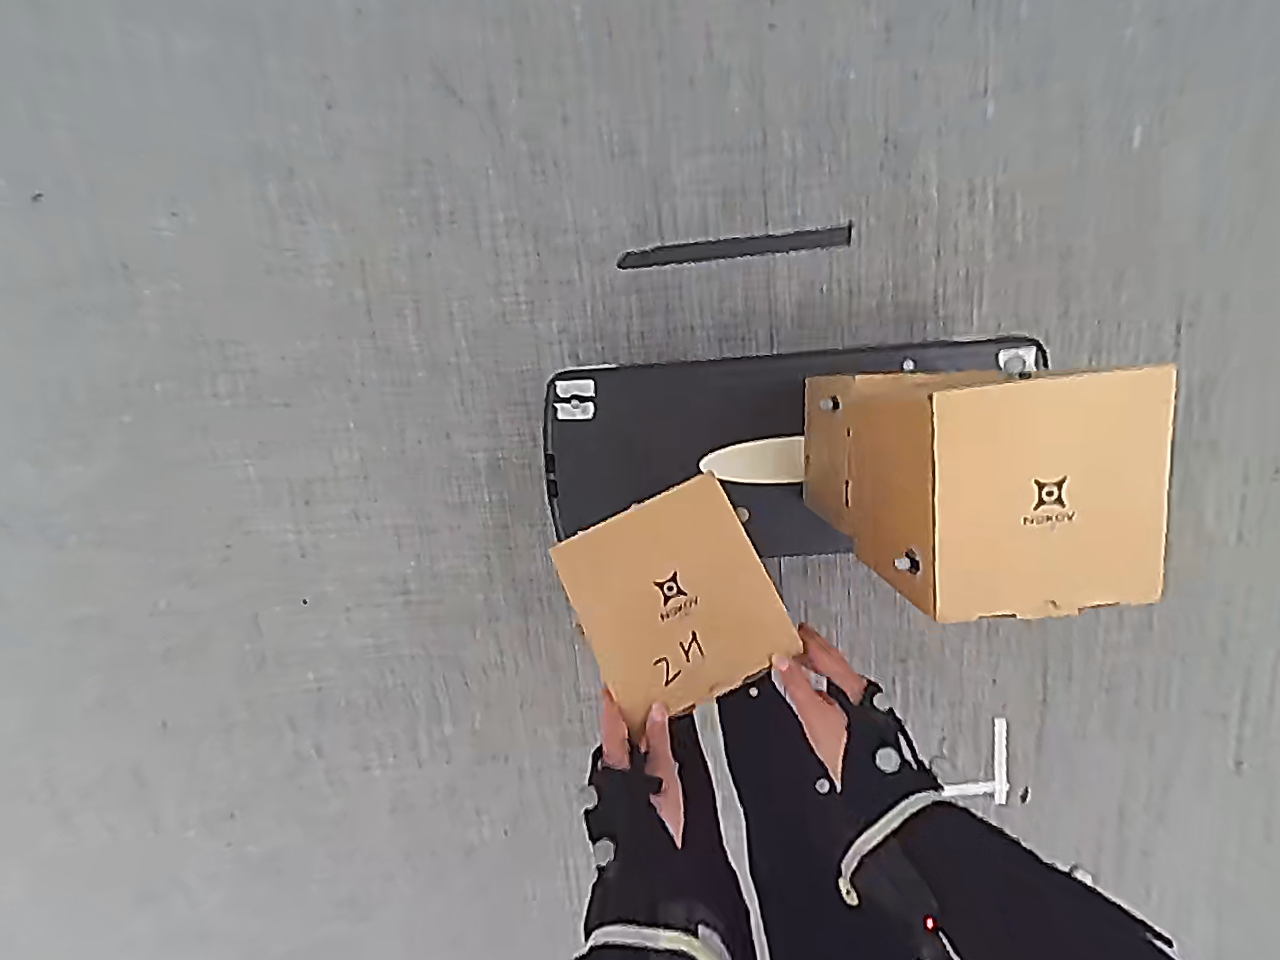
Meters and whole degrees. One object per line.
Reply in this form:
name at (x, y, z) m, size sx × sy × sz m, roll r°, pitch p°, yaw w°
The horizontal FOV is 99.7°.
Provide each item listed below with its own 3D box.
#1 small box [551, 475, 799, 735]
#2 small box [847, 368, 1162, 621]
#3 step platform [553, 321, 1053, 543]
small box at (0.028, 0.119, 0.544) m, size 0.168 × 0.176 × 0.179 m, roll -25°, pitch 79°, yaw -3°
small box at (0.292, 0.001, 0.472) m, size 0.168 × 0.176 × 0.179 m, roll -6°, pitch 100°, yaw 2°
step platform at (0.216, -0.063, 0.804) m, size 0.684 × 0.204 × 0.286 m, roll -4°, pitch 99°, yaw 3°
